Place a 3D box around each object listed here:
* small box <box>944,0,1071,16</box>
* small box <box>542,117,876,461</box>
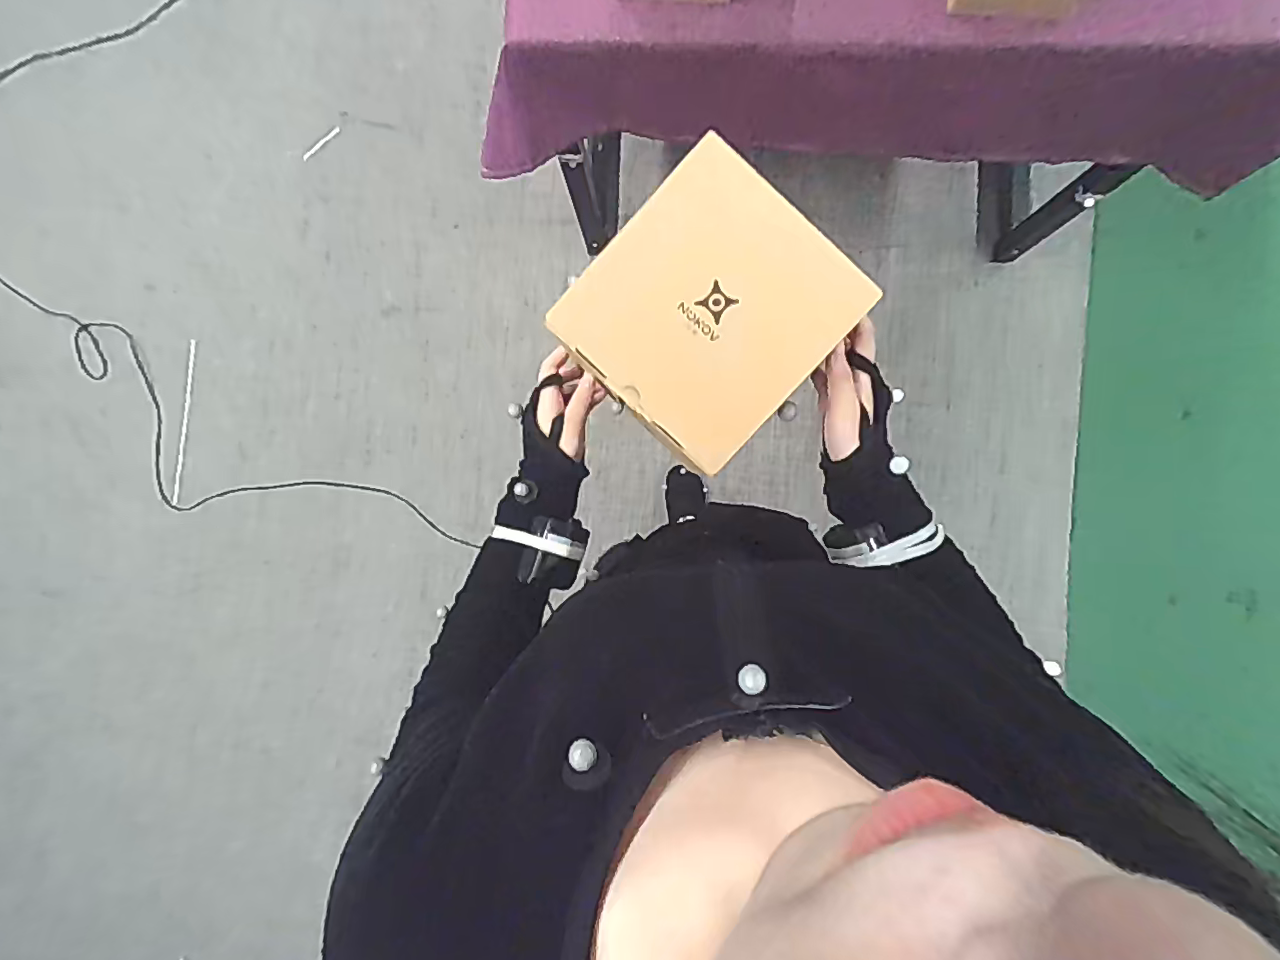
[{"bbox_3d":[0.532,-0.755,0.705,0.179,0.176,0.168,5,87,4],"label":"small box"},{"bbox_3d":[0.048,-0.135,0.451,0.168,0.176,0.179,43,94,-1],"label":"small box"}]
